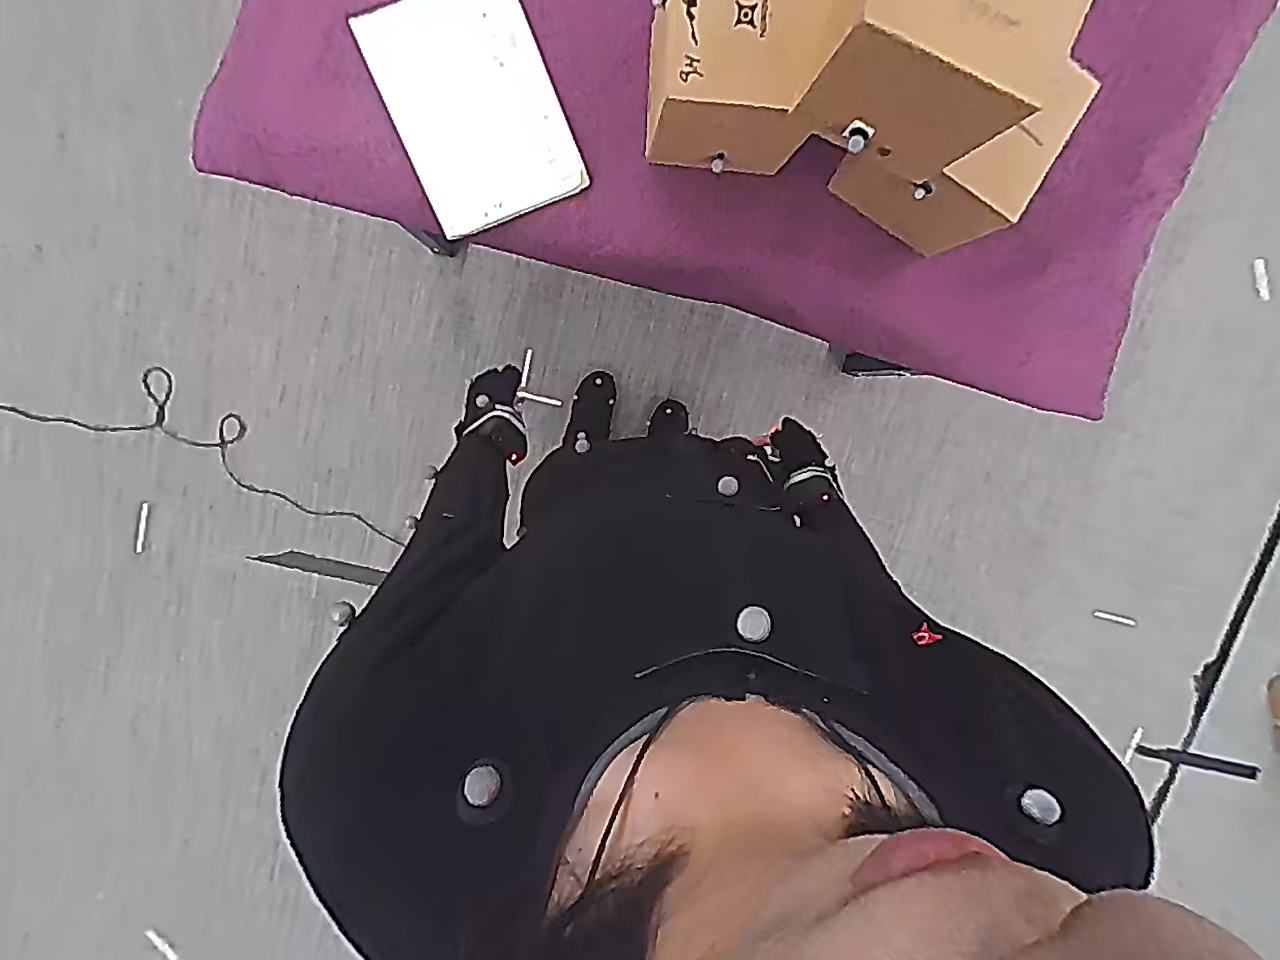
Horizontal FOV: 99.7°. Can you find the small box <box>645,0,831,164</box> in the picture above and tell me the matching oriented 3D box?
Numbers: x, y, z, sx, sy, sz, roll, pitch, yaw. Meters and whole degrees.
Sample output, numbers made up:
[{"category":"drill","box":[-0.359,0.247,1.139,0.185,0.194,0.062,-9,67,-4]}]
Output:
[{"category":"small box","box":[0.106,-0.481,0.612,0.179,0.176,0.168,2,99,-6]}]

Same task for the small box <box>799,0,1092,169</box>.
[{"category":"small box","box":[0.263,-0.417,0.472,0.168,0.176,0.179,19,98,-7]}]

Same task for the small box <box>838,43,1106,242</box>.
[{"category":"small box","box":[0.374,-0.415,0.646,0.179,0.176,0.168,29,96,-9]}]
